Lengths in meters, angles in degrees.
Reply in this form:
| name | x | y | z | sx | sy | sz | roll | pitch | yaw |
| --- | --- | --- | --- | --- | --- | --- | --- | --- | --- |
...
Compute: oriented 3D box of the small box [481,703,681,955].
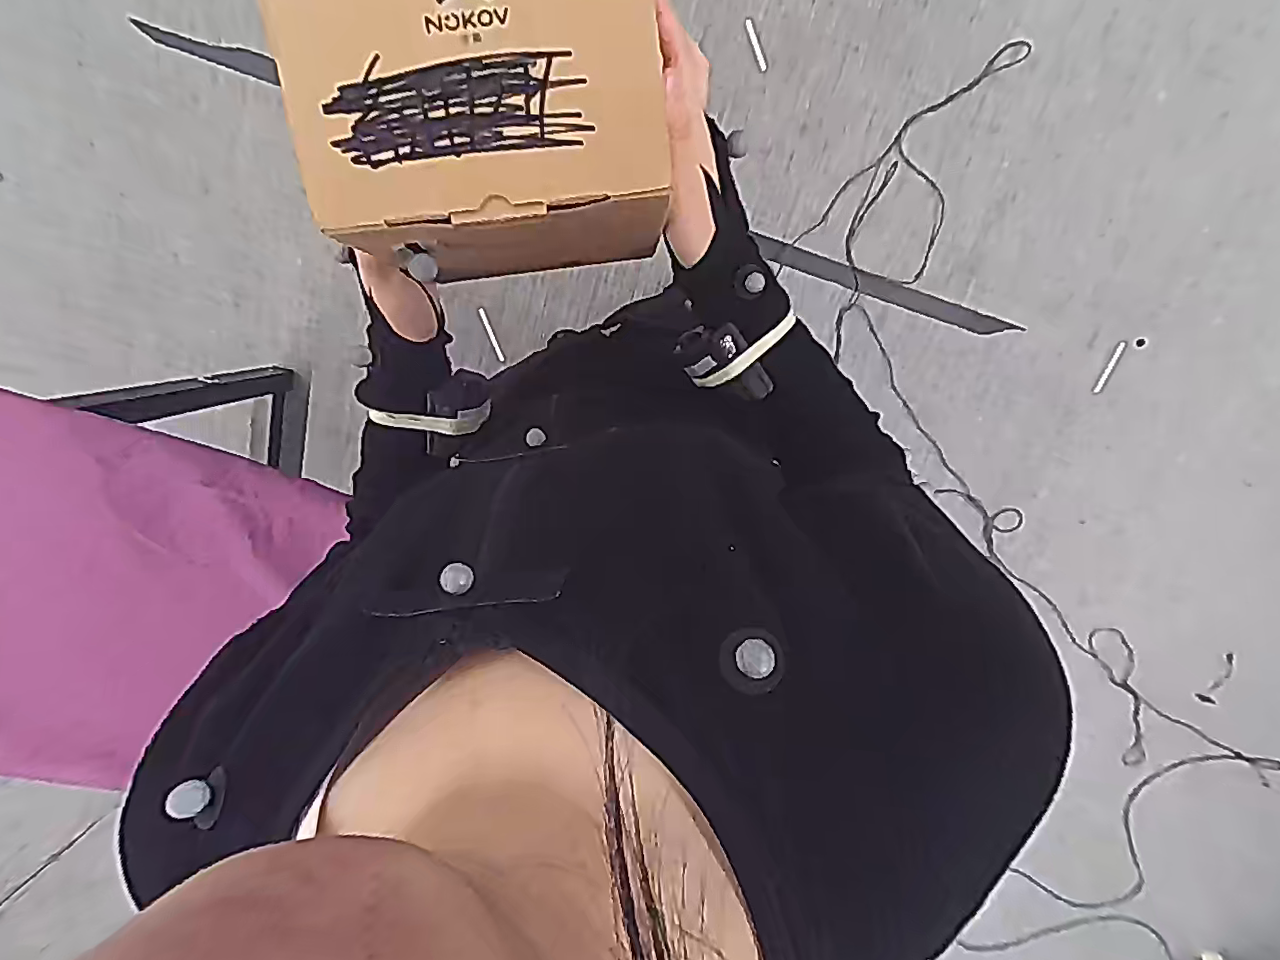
| name | x | y | z | sx | sy | sz | roll | pitch | yaw |
| --- | --- | --- | --- | --- | --- | --- | --- | --- | --- |
| small box | -0.064 | 0.384 | 0.617 | 0.179 | 0.176 | 0.168 | 12 | 108 | -6 |
